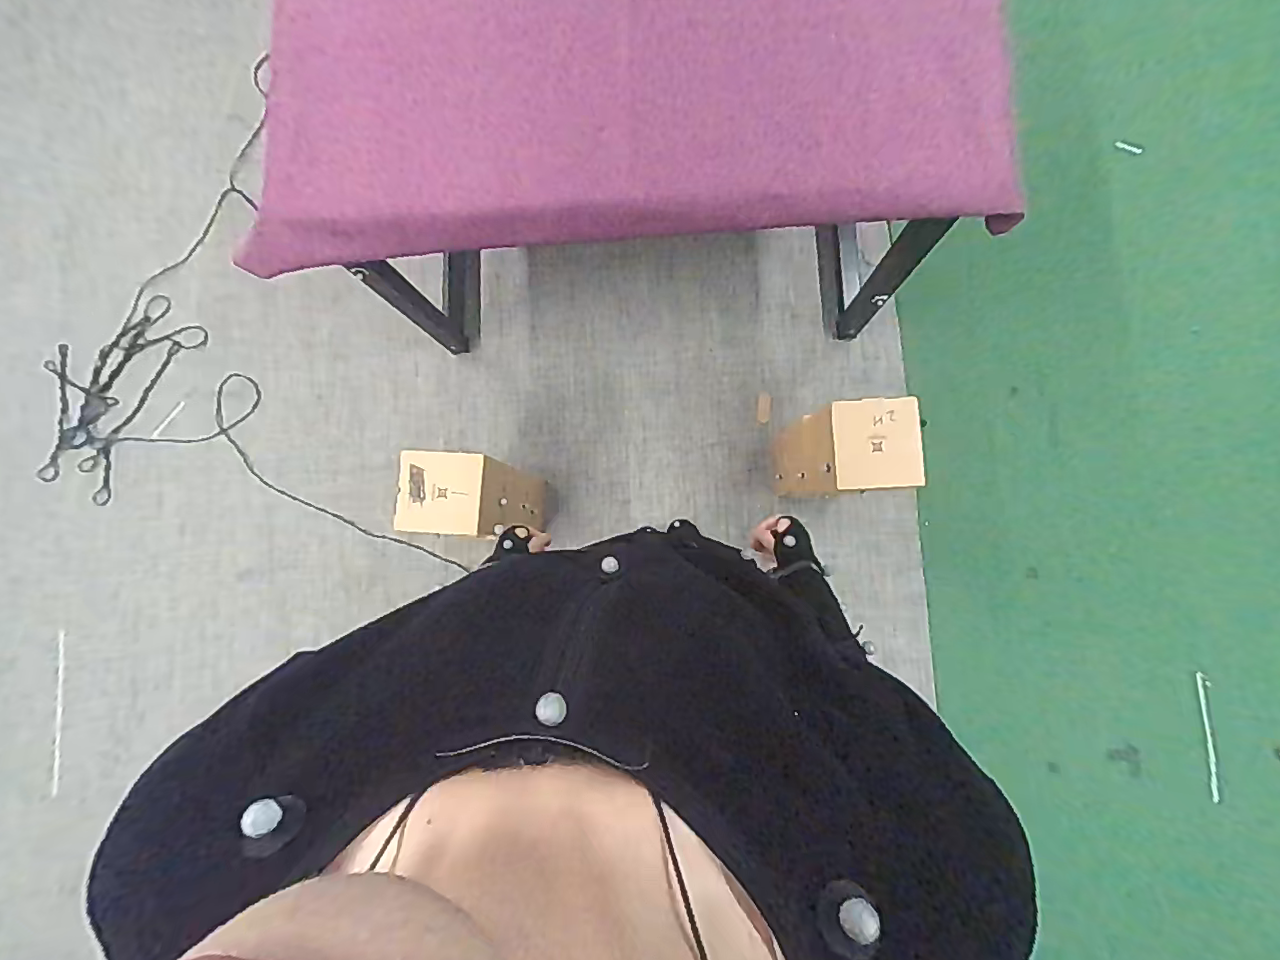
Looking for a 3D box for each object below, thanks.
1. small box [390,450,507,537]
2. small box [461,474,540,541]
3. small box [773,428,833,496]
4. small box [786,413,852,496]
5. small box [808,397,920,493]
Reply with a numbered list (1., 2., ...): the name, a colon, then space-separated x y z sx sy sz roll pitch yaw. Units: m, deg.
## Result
1. small box: -0.400 0.035 1.154 0.179 0.176 0.168 3 84 3
2. small box: -0.375 0.074 1.480 0.168 0.176 0.179 1 85 4
3. small box: 0.452 -0.044 1.439 0.179 0.176 0.168 -1 84 3
4. small box: 0.447 -0.058 1.278 0.168 0.176 0.179 -4 85 3
5. small box: 0.452 -0.064 1.113 0.168 0.176 0.179 -3 85 3
